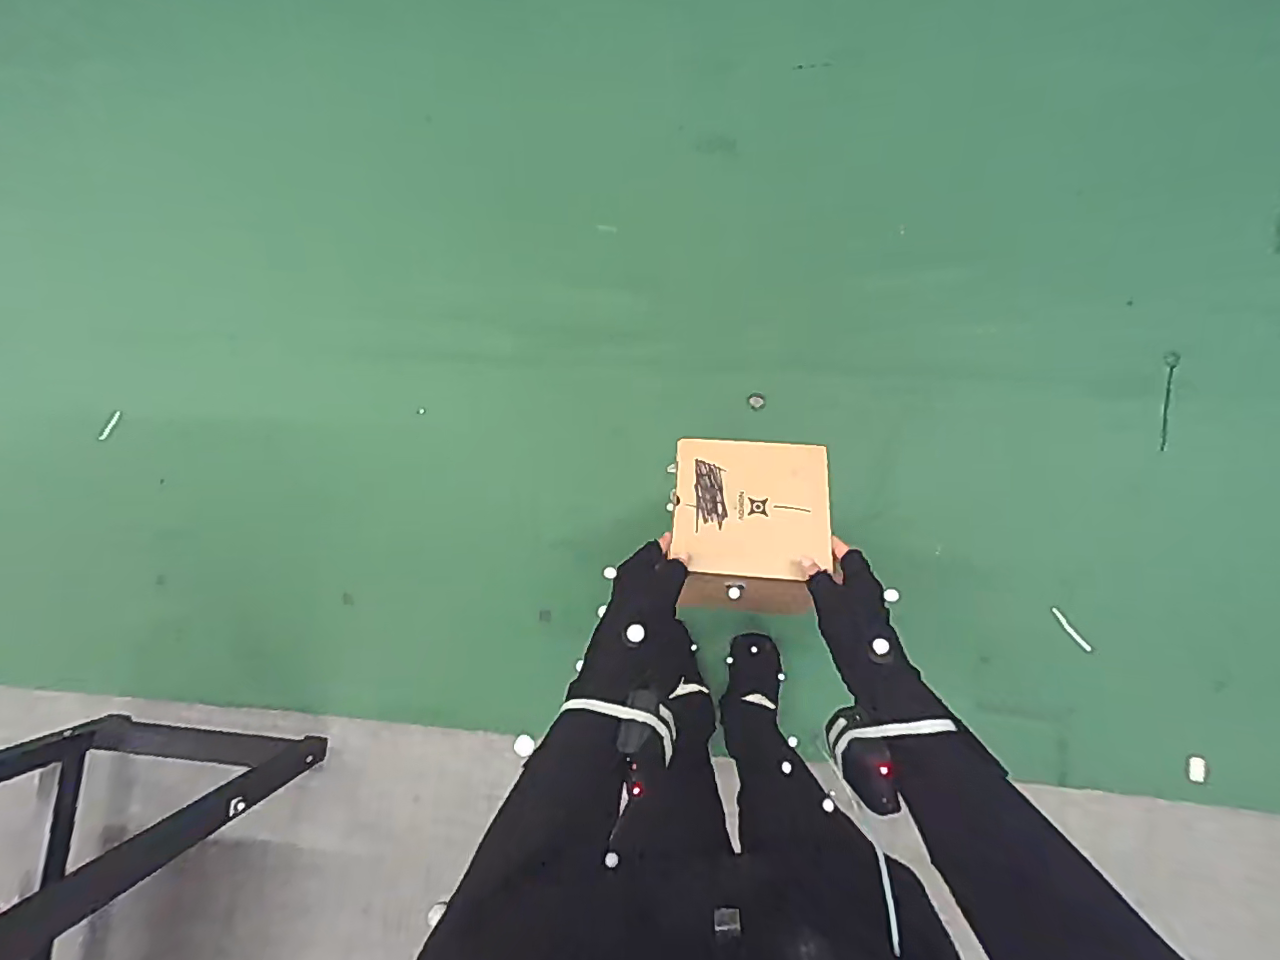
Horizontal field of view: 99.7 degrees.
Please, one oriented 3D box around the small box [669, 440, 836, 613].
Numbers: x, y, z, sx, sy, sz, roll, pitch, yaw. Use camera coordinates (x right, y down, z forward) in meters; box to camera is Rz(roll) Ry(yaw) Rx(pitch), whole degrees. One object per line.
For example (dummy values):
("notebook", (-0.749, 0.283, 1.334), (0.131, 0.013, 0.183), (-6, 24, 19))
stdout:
("small box", (0.128, 0.064, 0.672), (0.179, 0.176, 0.168), (0, 62, 5))
